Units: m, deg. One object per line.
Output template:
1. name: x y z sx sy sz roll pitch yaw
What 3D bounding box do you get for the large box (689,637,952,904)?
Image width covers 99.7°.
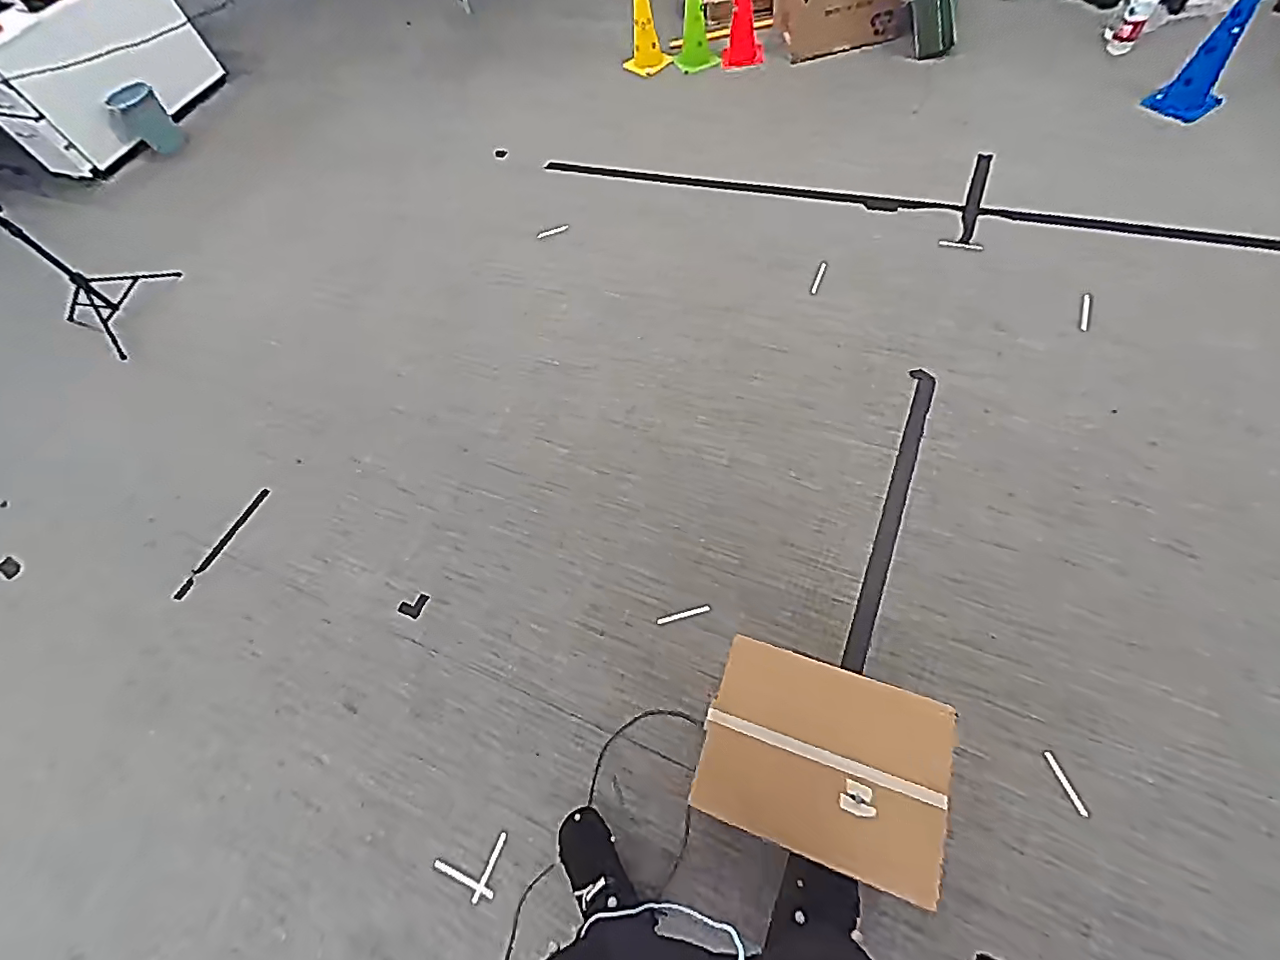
1. large box: 0.335 0.551 1.075 0.408 0.320 0.320 15 66 16
